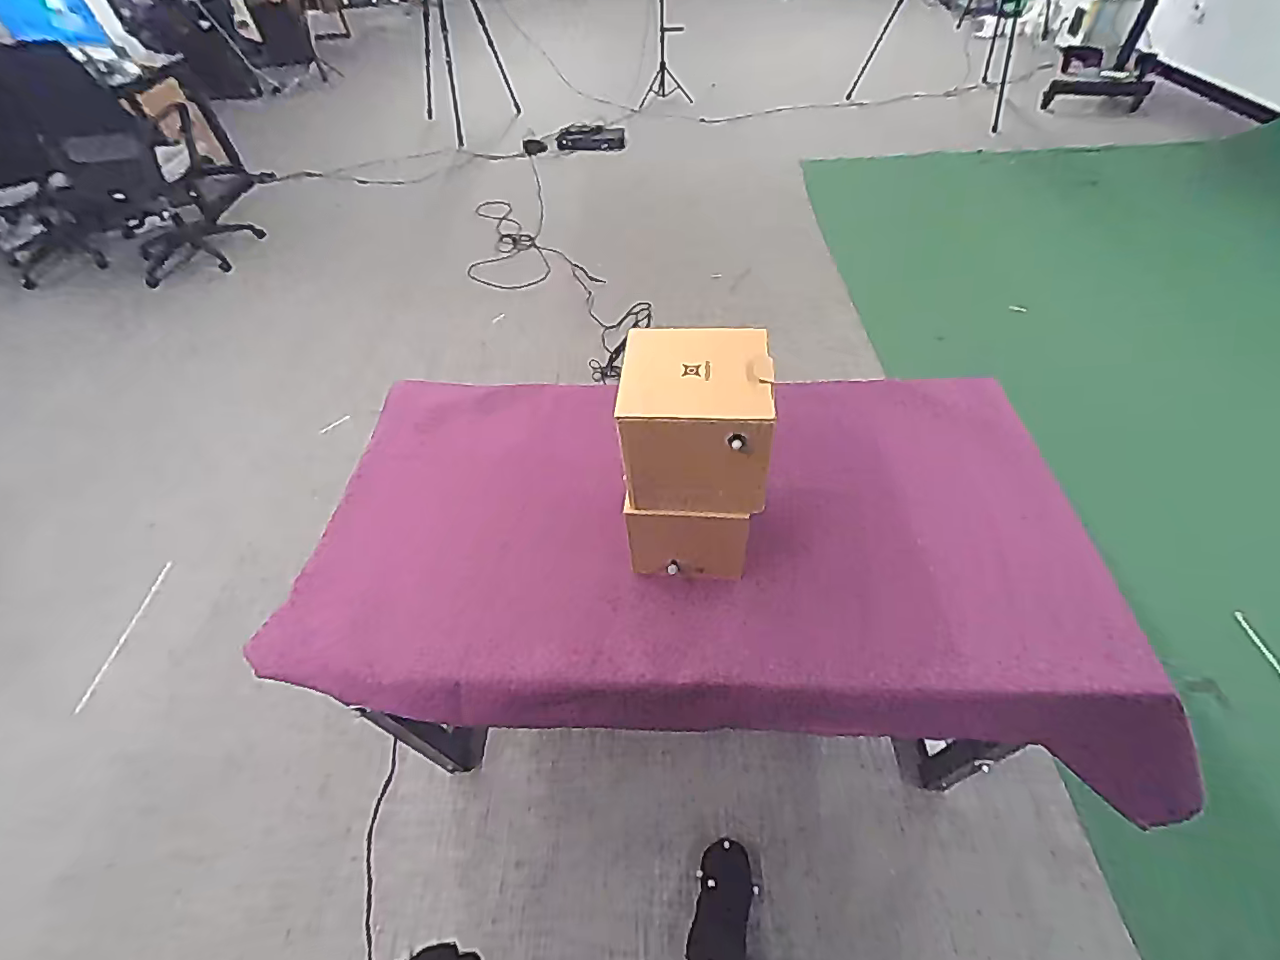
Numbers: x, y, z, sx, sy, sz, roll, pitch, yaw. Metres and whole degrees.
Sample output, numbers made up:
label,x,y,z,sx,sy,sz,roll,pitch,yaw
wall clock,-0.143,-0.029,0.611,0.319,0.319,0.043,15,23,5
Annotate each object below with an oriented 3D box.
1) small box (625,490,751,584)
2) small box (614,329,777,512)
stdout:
label,x,y,z,sx,sy,sz,roll,pitch,yaw
small box,0.074,0.033,0.807,0.168,0.176,0.179,2,51,7
small box,0.071,-0.072,0.684,0.179,0.176,0.168,1,50,6
